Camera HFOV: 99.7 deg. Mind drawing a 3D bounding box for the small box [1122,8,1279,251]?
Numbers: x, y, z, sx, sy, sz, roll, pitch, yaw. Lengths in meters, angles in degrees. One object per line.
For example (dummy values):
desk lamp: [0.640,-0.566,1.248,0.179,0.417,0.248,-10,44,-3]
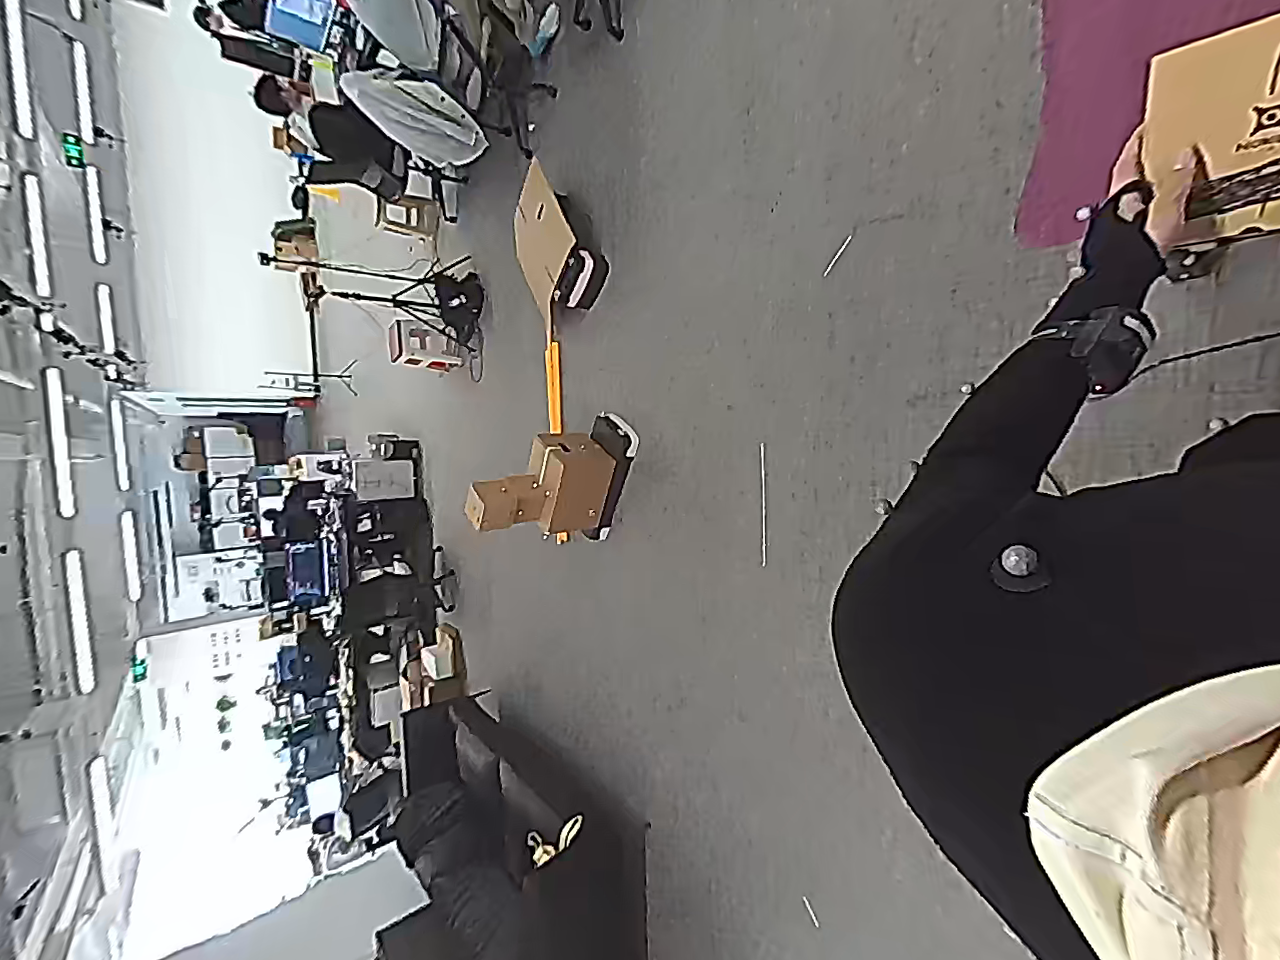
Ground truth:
small box: [0.595,-0.326,0.516,0.168,0.176,0.179,11,112,48]
